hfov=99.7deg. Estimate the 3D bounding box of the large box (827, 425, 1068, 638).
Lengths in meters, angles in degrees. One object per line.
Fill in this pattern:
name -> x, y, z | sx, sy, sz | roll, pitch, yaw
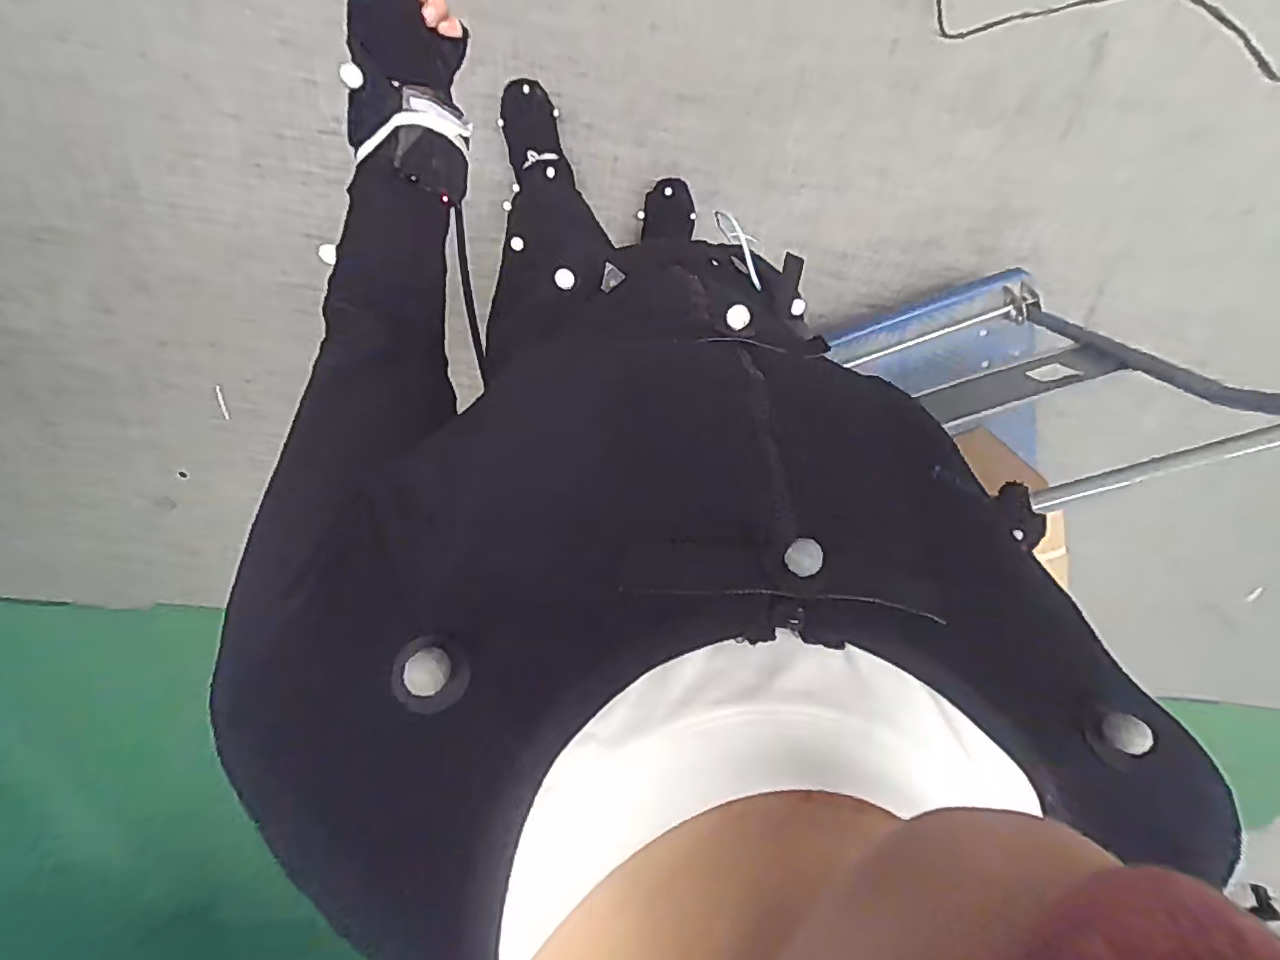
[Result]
large box -> 0.741, 0.124, 1.345 | 0.408, 0.320, 0.320 | -23, 121, 13
